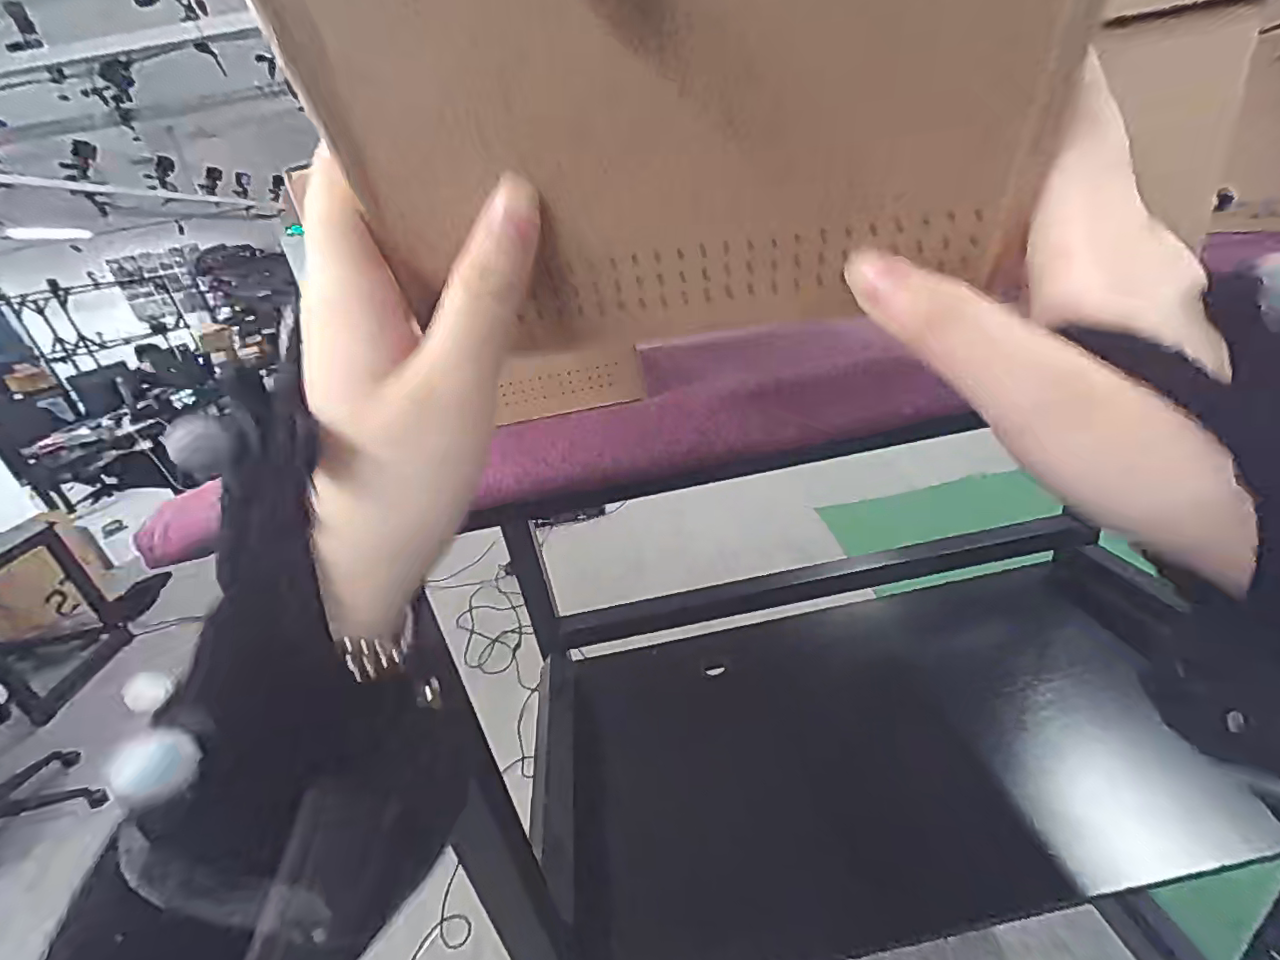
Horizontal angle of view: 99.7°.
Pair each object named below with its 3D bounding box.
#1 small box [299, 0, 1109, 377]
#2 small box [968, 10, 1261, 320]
[{"bbox_3d":[0.014,-0.147,0.163,0.179,0.176,0.168,-5,49,9],"label":"small box"},{"bbox_3d":[0.298,-0.228,0.432,0.168,0.176,0.179,-9,26,0],"label":"small box"}]
